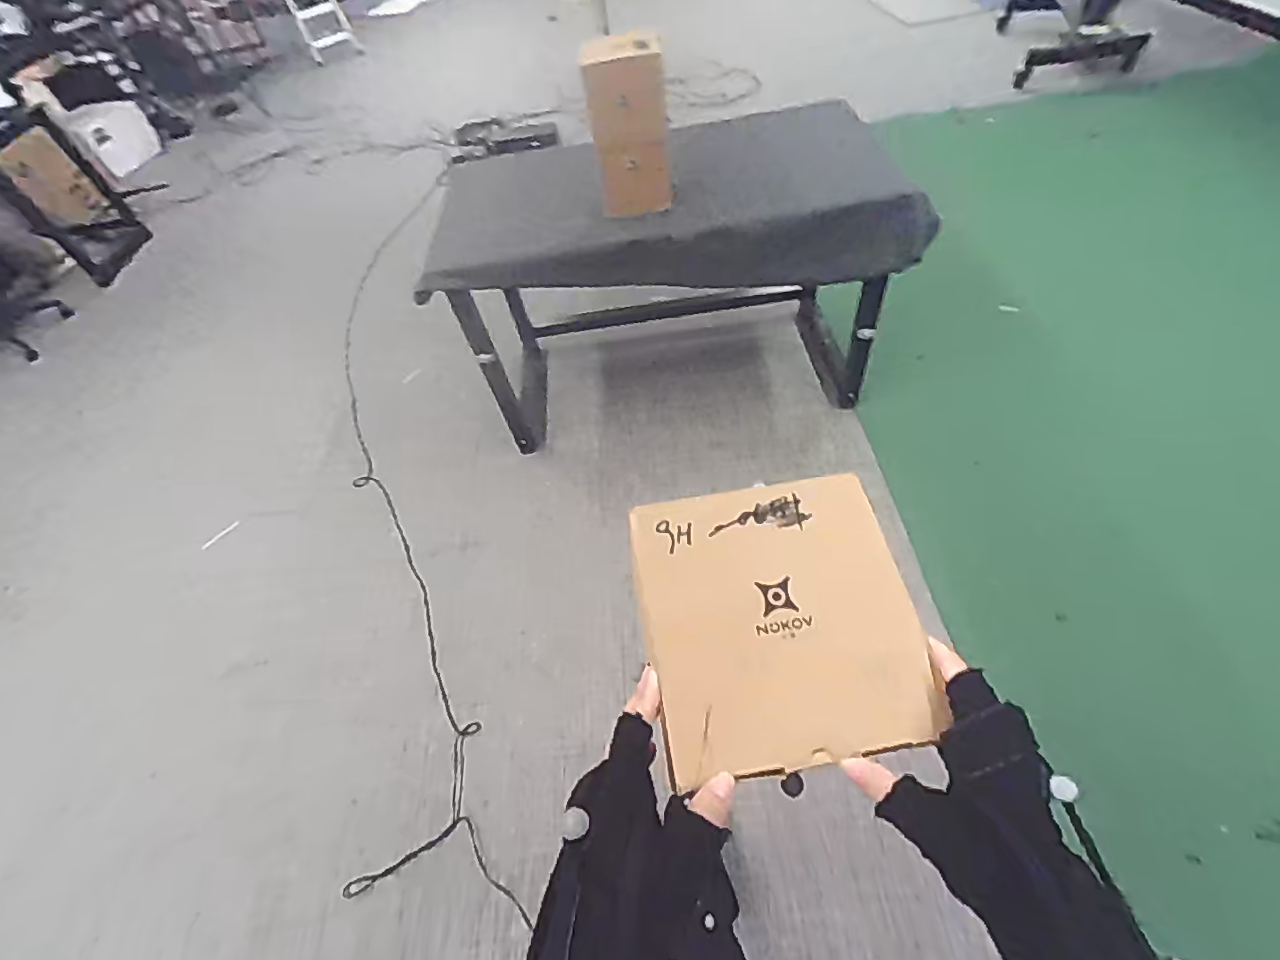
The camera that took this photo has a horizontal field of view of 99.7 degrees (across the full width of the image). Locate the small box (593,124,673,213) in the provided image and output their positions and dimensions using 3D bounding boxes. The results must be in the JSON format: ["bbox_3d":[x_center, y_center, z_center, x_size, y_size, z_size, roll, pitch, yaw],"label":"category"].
[{"bbox_3d":[-0.015,-0.790,1.349,0.179,0.176,0.168,-6,54,4],"label":"small box"}]

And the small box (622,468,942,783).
[{"bbox_3d":[0.084,0.116,0.415,0.168,0.176,0.179,-10,63,-3],"label":"small box"}]

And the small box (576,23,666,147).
[{"bbox_3d":[-0.036,-0.883,1.215,0.179,0.176,0.168,-7,53,6],"label":"small box"}]
